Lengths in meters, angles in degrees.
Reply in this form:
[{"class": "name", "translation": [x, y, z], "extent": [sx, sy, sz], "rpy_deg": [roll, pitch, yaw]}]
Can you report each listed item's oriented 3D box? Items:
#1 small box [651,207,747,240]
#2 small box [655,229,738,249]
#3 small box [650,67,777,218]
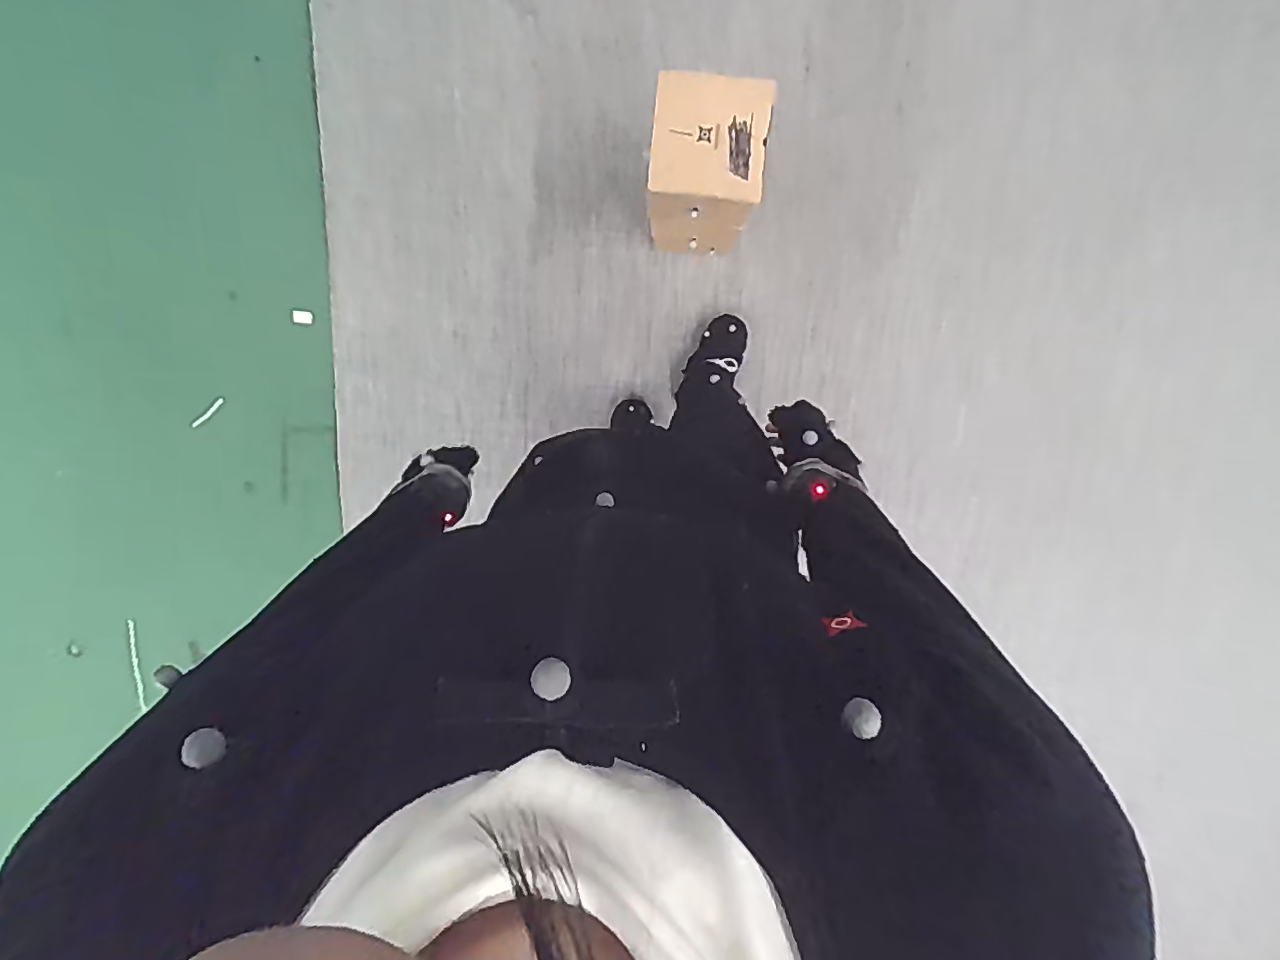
[{"class": "small box", "translation": [0.119, -0.573, 1.043], "extent": [0.179, 0.176, 0.168], "rpy_deg": [9, 104, 0]}, {"class": "small box", "translation": [0.128, -0.618, 1.200], "extent": [0.179, 0.176, 0.168], "rpy_deg": [5, 103, 3]}, {"class": "small box", "translation": [0.110, -0.536, 0.882], "extent": [0.179, 0.176, 0.168], "rpy_deg": [4, 104, 0]}]
